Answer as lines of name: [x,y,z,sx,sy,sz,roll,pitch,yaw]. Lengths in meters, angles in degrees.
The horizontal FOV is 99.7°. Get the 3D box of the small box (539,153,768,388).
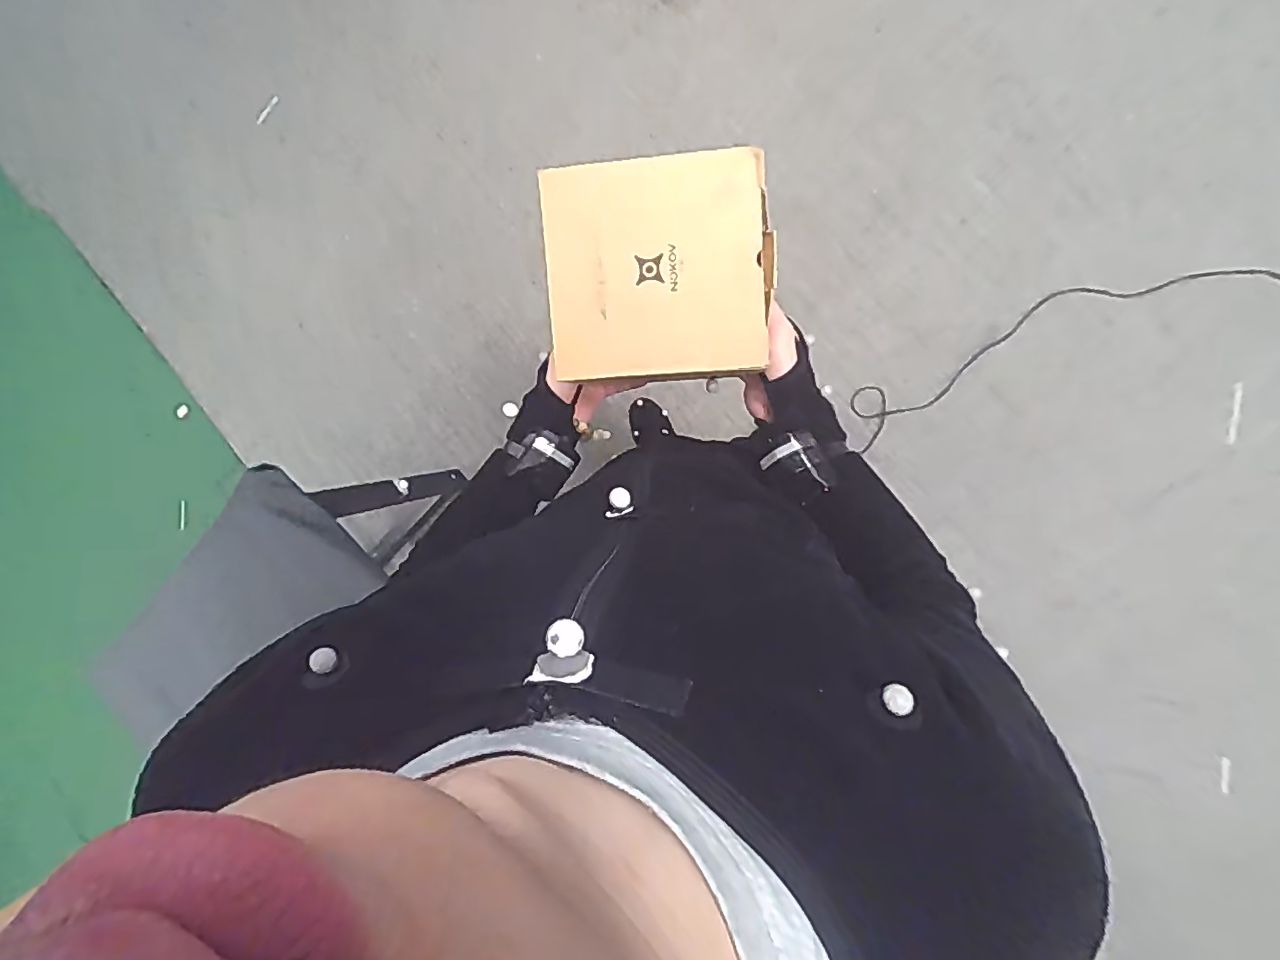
small box: [0.019,-0.175,0.505,0.179,0.176,0.168,-3,98,7]
